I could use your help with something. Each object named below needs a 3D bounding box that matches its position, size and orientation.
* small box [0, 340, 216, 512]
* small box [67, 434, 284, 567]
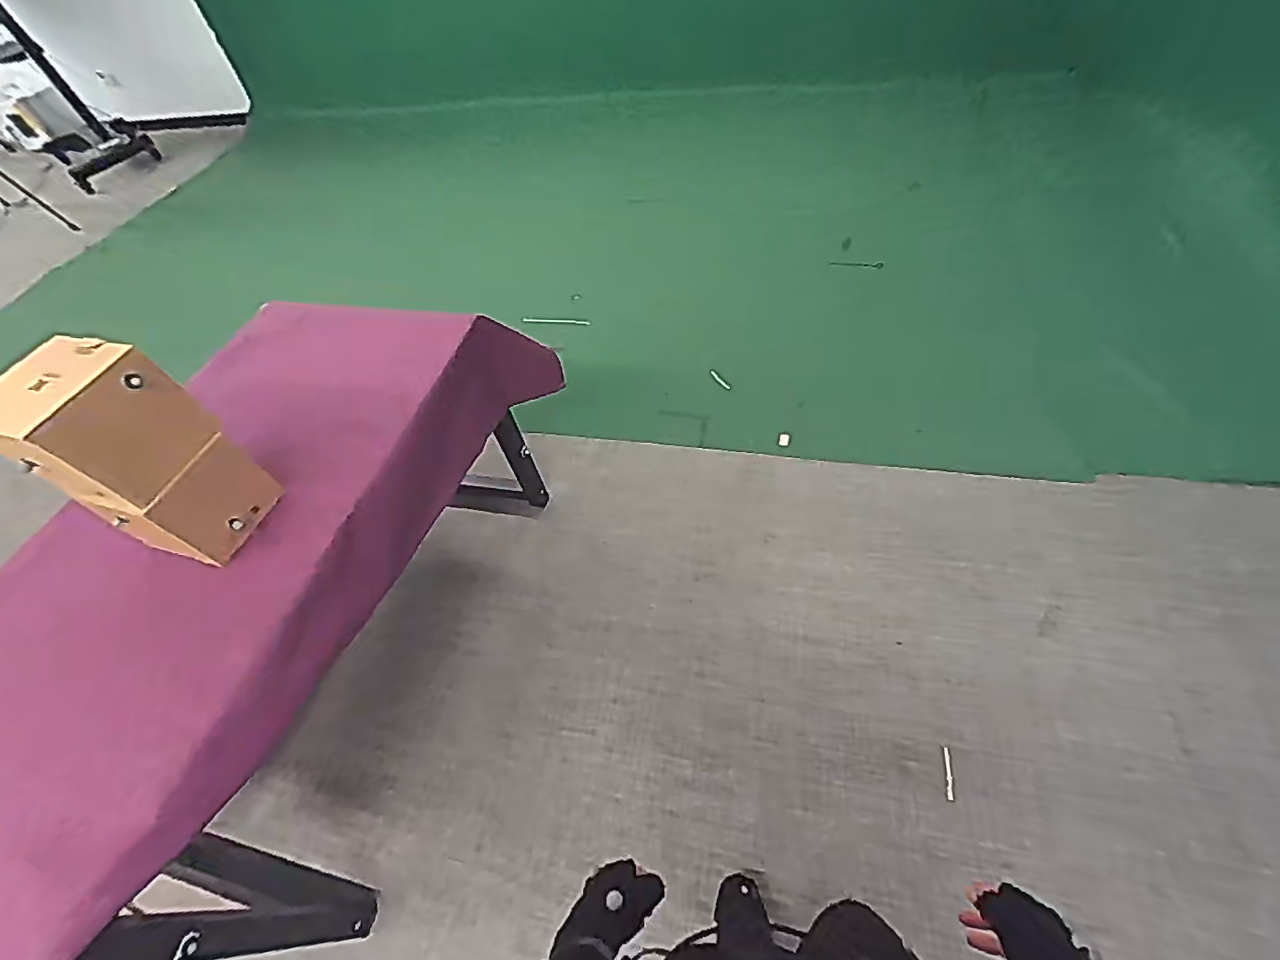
[{"bbox_3d":[-0.779,-0.075,0.780,0.168,0.176,0.179,9,56,16],"label":"small box"},{"bbox_3d":[-0.758,0.026,0.904,0.179,0.176,0.168,11,57,16],"label":"small box"}]
